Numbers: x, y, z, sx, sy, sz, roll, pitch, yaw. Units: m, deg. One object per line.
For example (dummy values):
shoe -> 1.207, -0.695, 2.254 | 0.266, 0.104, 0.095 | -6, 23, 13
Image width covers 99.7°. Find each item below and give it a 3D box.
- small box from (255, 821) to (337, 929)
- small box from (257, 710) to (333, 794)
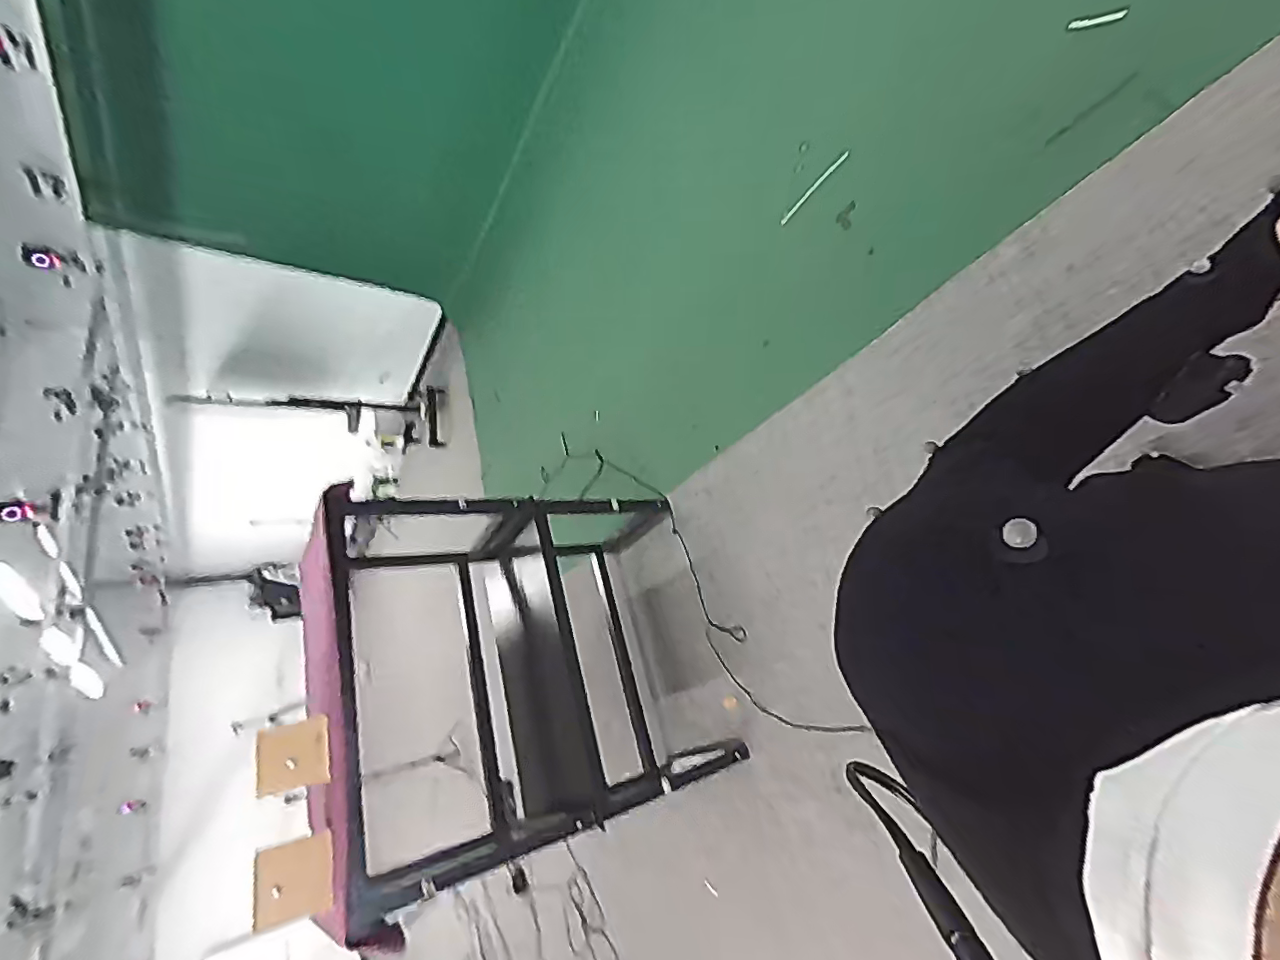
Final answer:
small box -> -0.881, 1.001, 1.386 | 0.168, 0.176, 0.179 | -41, 56, 45
small box -> -0.951, 0.748, 1.492 | 0.179, 0.176, 0.168 | -42, 57, 47
